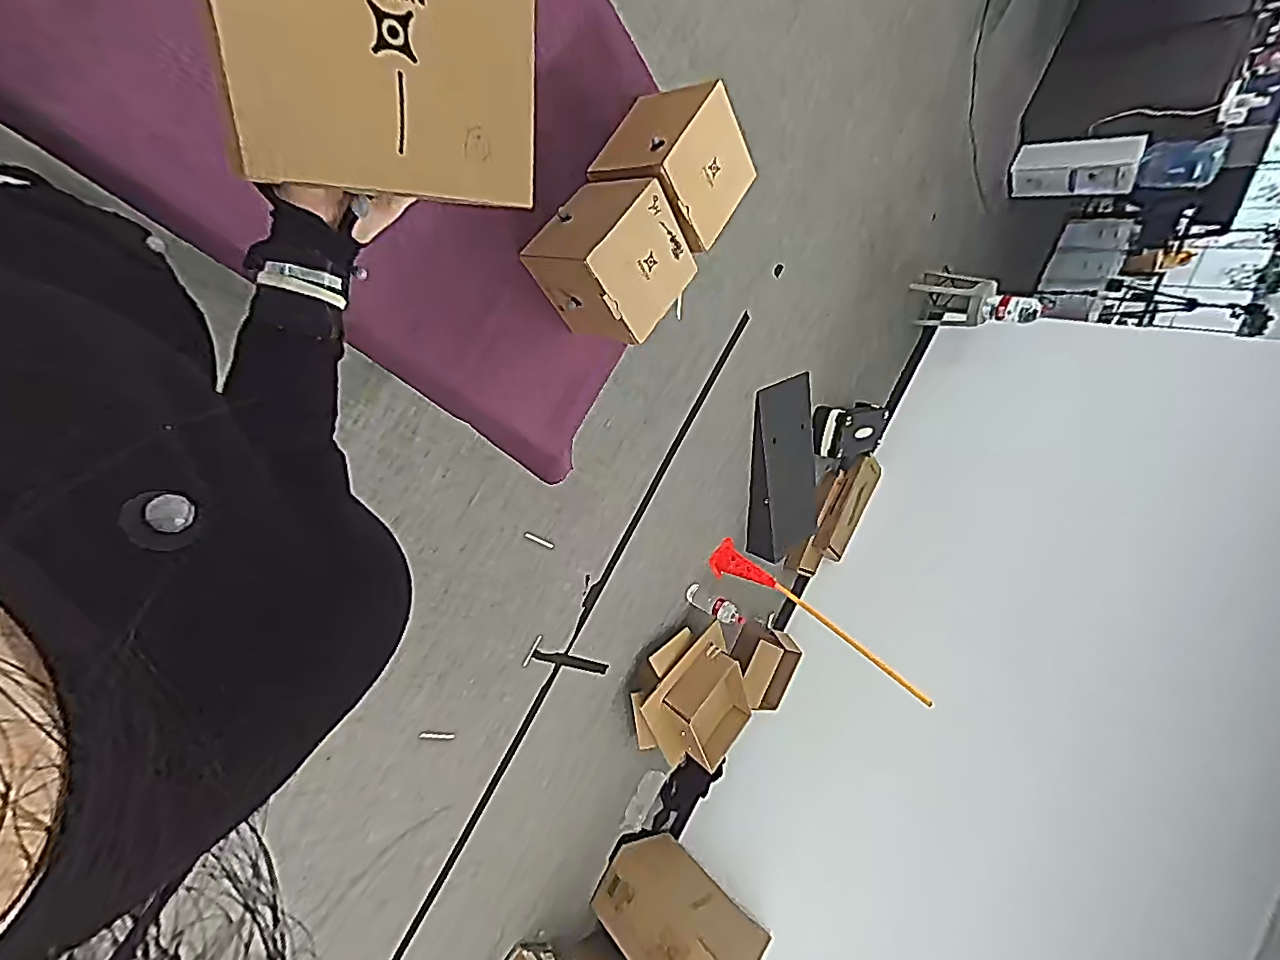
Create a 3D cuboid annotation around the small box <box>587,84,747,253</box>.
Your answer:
[{"bbox_3d":[0.044,-0.504,0.892,0.179,0.176,0.168,-59,140,-10],"label":"small box"}]

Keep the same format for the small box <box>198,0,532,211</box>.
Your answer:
[{"bbox_3d":[-0.183,-0.284,0.357,0.168,0.176,0.179,-13,122,-33],"label":"small box"}]
